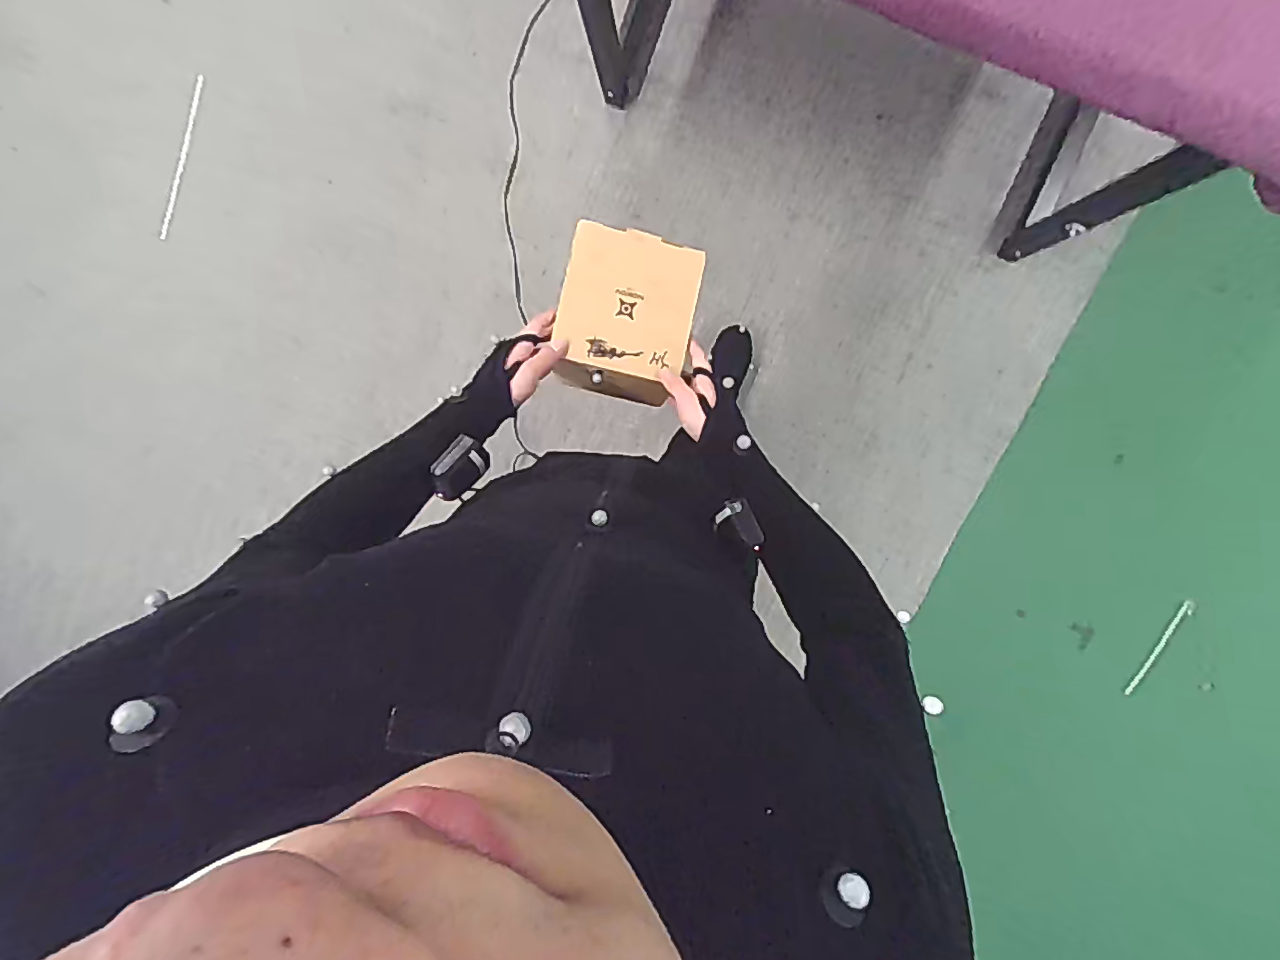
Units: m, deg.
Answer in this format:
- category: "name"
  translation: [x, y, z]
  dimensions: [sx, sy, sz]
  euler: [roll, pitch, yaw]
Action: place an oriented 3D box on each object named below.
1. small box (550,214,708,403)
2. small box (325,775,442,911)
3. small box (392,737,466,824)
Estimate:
- category: "small box"
  translation: [-0.020, -0.217, 0.734]
  dimensions: [0.168, 0.176, 0.179]
  euler: [13, 88, -5]
- category: "small box"
  translation: [-0.604, 0.862, 1.298]
  dimensions: [0.168, 0.176, 0.179]
  euler: [27, 99, -2]
- category: "small box"
  translation: [-0.595, 0.839, 1.461]
  dimensions: [0.168, 0.176, 0.179]
  euler: [30, 100, -1]
